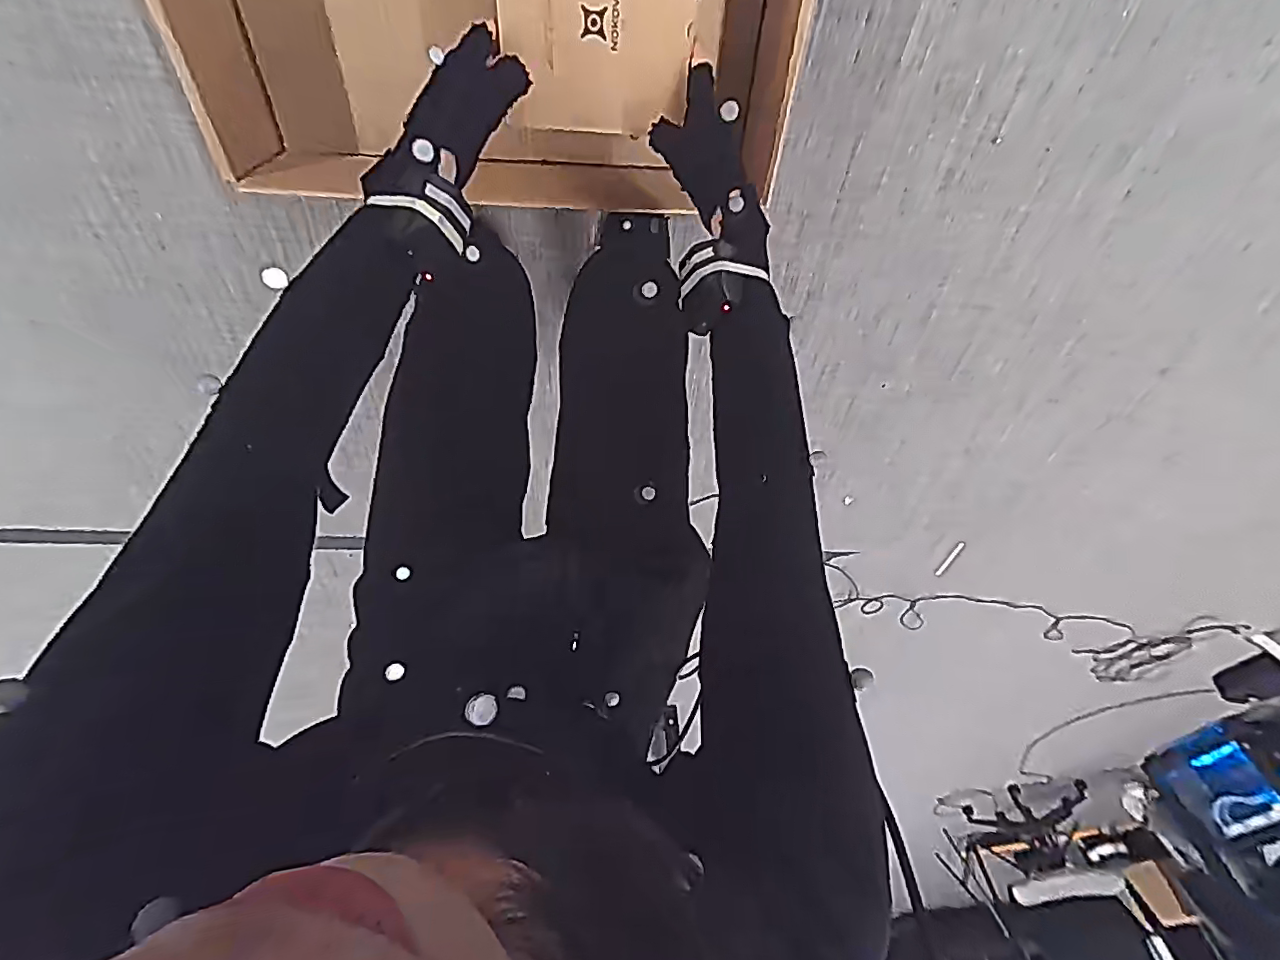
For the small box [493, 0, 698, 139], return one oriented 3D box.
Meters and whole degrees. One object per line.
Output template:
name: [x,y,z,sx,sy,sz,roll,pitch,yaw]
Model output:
small box: [-0.044,-0.446,0.526,0.179,0.176,0.168,0,131,-5]
